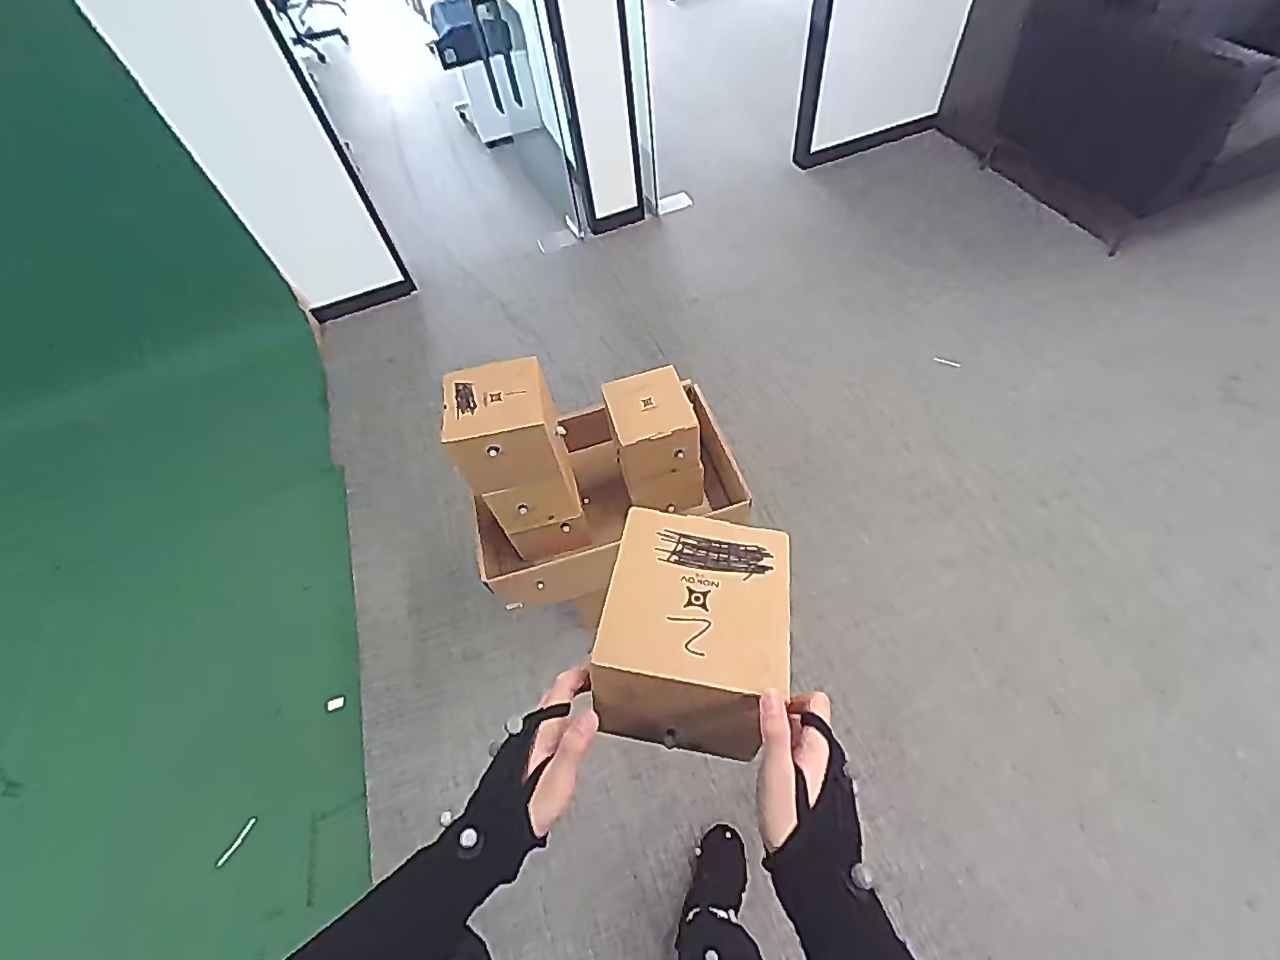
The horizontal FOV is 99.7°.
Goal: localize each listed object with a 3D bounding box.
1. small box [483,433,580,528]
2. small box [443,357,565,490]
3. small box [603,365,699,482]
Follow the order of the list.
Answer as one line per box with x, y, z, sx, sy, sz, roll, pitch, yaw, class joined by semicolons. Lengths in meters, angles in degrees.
-0.230;-0.014;1.146;0.168;0.176;0.179;-14;56;-3;small box
-0.248;-0.099;1.007;0.179;0.176;0.168;-11;57;-2;small box
0.028;-0.114;1.179;0.168;0.176;0.179;-16;57;-4;small box
